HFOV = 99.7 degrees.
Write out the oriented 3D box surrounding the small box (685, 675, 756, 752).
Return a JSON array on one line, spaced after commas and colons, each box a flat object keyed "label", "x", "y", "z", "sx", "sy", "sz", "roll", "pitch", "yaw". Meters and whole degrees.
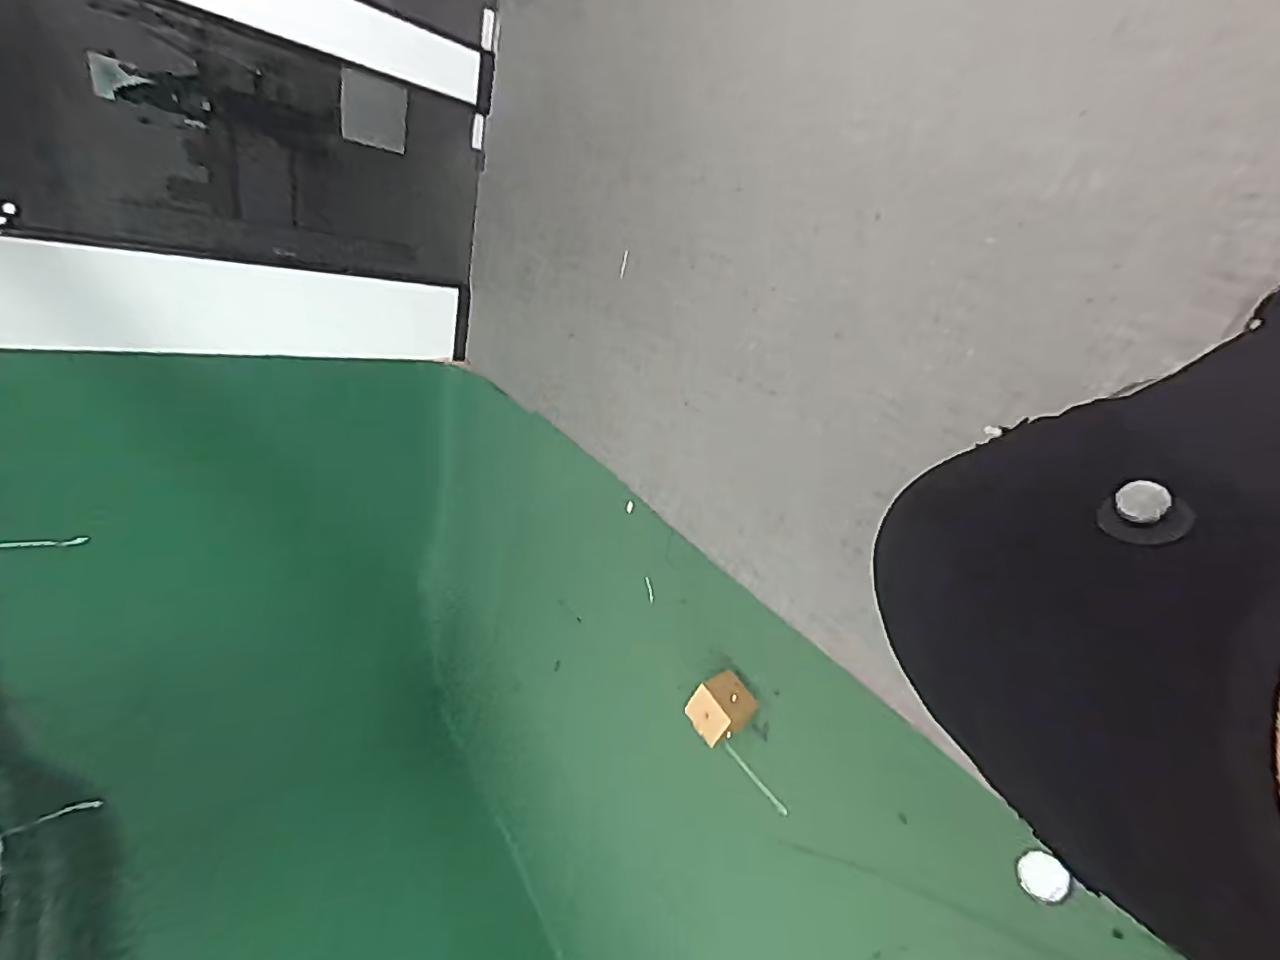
[{"label": "small box", "x": 0.302, "y": 0.856, "z": 1.999, "sx": 0.168, "sy": 0.176, "sz": 0.179, "roll": 47, "pitch": 128, "yaw": 35}]
